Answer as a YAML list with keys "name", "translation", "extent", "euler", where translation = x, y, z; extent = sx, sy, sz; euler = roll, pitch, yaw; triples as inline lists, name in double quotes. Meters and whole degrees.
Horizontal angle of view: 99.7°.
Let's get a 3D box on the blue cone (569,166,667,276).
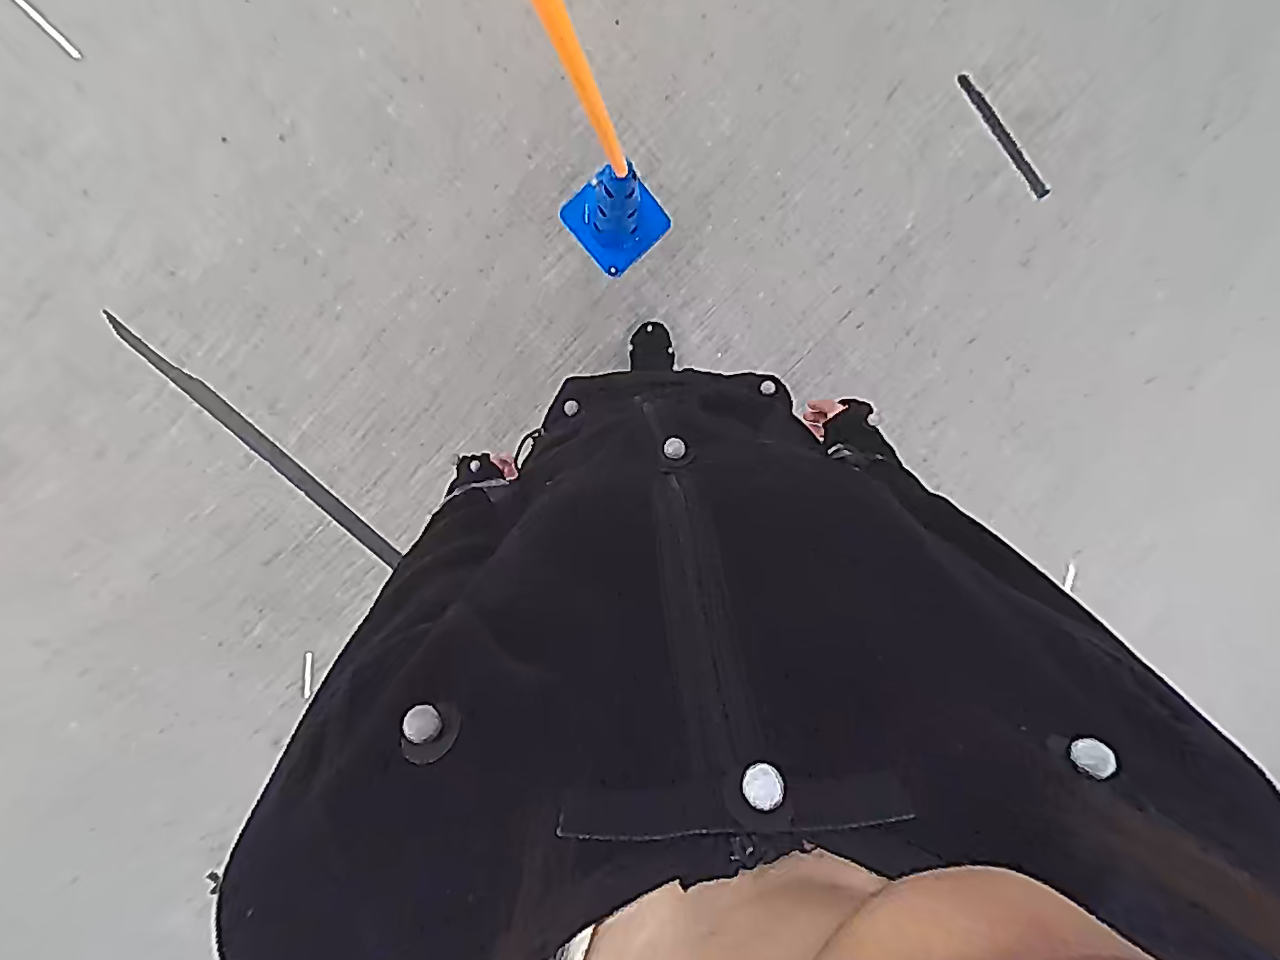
- name: "blue cone"
  translation: [-0.038, -0.574, 1.118]
  extent: [0.193, 0.380, 0.192]
  euler: [-40, 104, 5]
